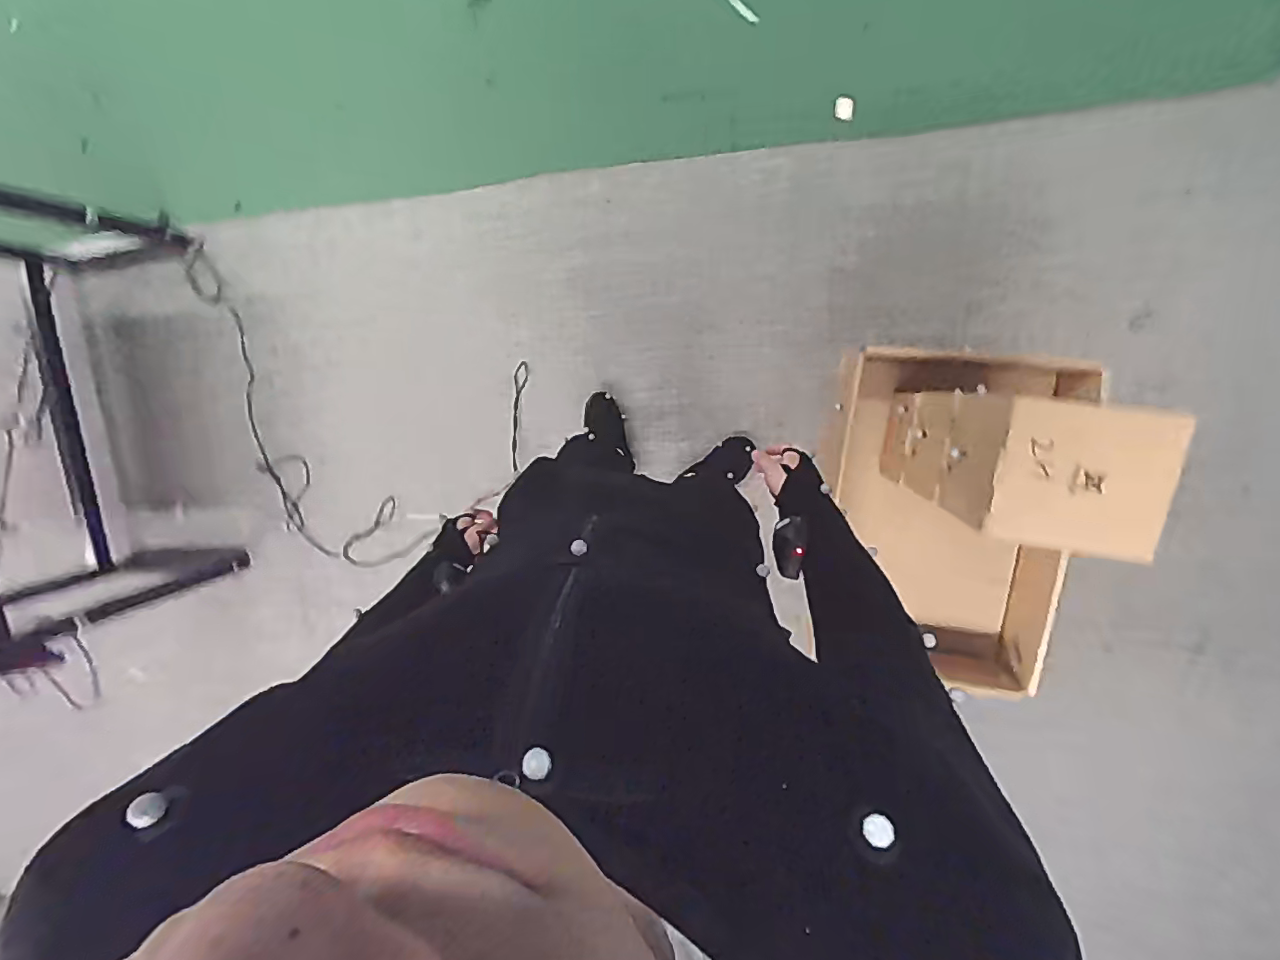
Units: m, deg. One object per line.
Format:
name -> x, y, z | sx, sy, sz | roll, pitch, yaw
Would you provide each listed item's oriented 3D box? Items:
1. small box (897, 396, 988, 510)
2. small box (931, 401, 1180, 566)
small box -> 0.535, -0.040, 0.856 | 0.179, 0.176, 0.168 | 9, 103, 9
small box -> 0.509, -0.007, 0.696 | 0.179, 0.176, 0.168 | 10, 102, 9
